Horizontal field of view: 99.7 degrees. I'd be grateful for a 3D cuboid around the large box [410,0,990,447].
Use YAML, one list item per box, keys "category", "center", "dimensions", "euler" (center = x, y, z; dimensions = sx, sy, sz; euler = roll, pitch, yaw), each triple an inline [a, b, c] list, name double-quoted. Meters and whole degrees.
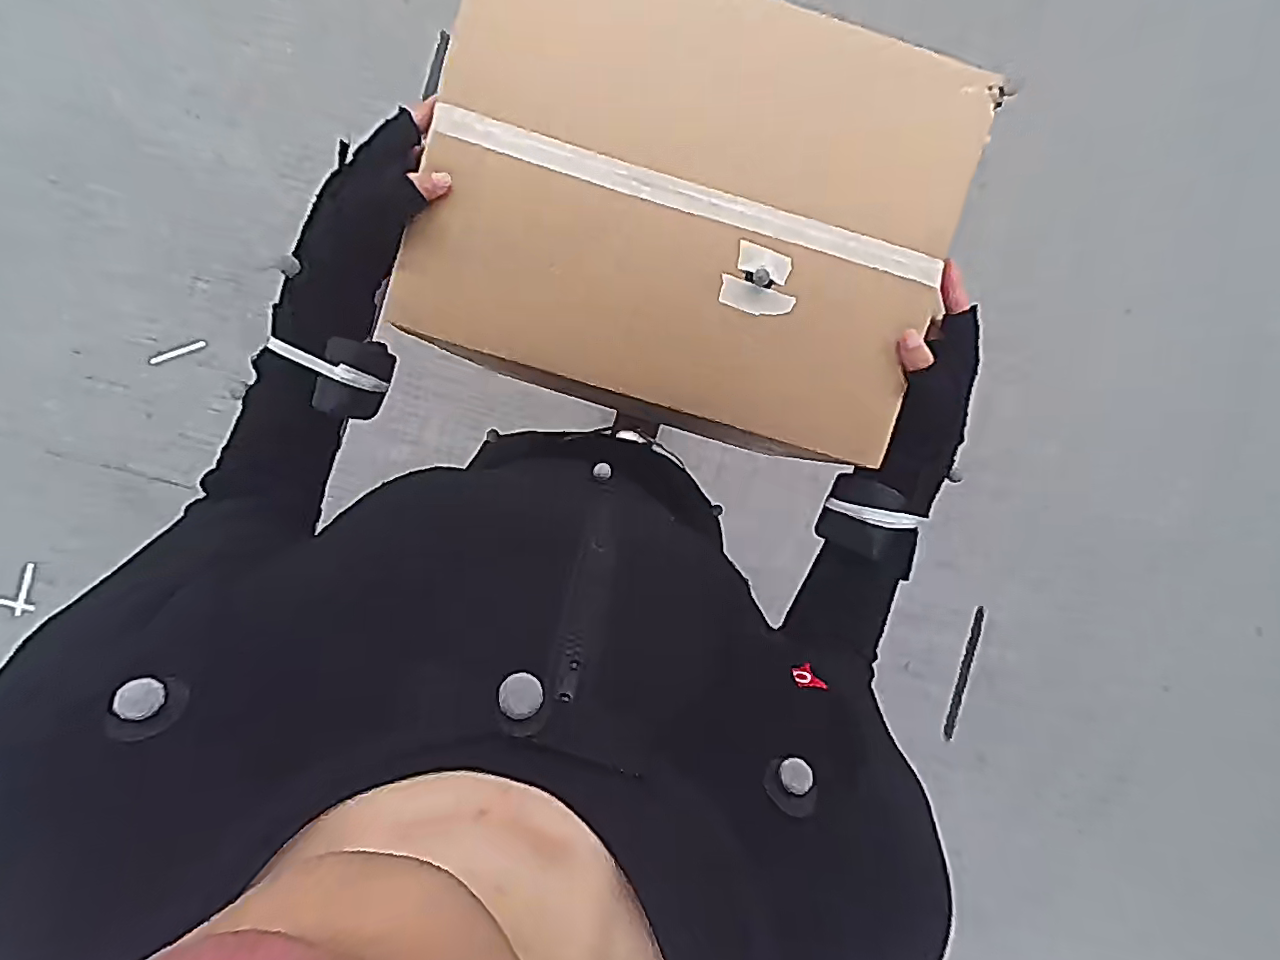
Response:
- category: "large box"
  center: [0.040, -0.237, 0.573]
  dimensions: [0.408, 0.320, 0.320]
  euler: [16, 95, -4]
